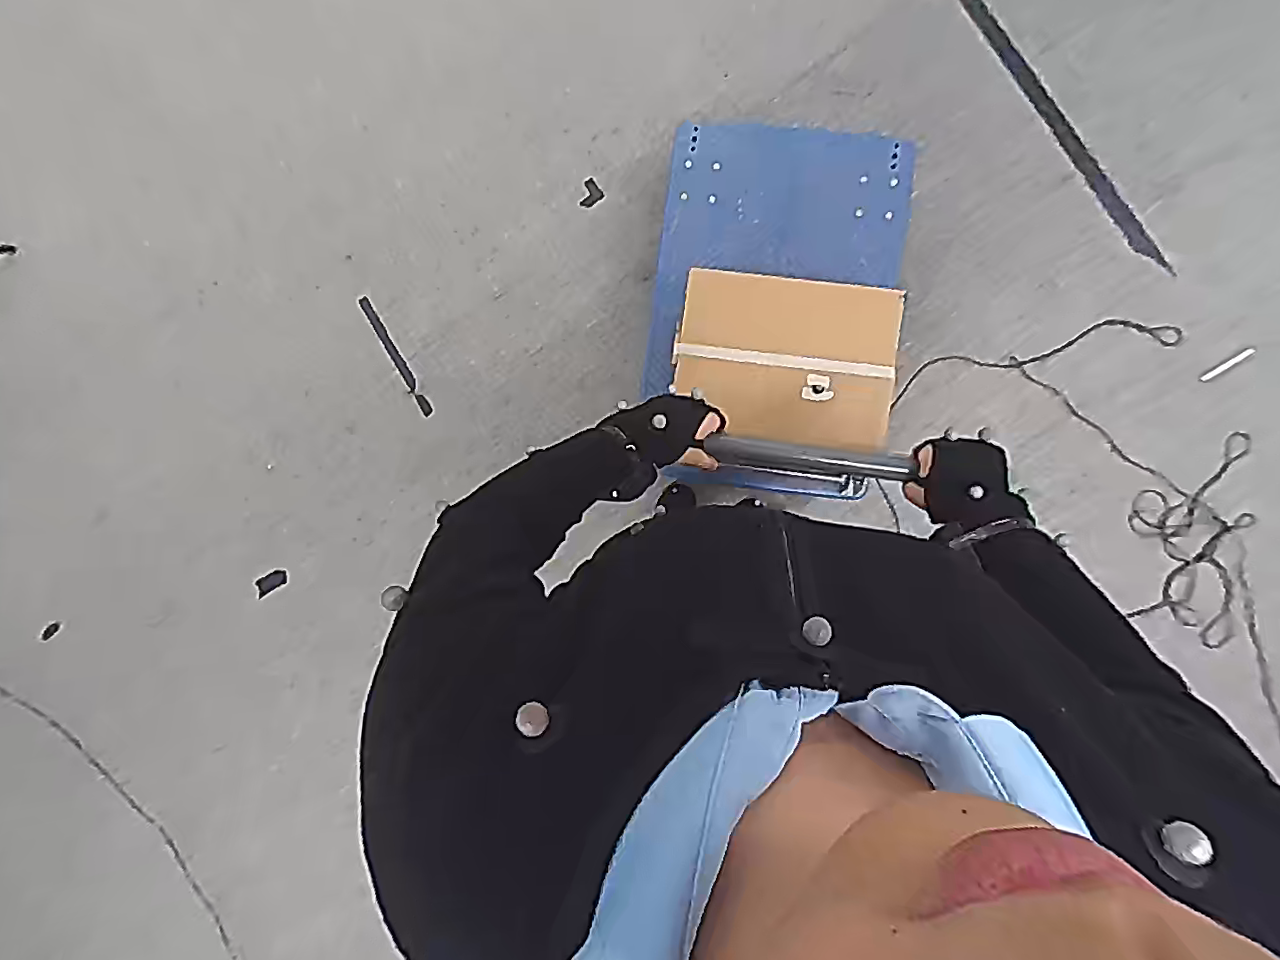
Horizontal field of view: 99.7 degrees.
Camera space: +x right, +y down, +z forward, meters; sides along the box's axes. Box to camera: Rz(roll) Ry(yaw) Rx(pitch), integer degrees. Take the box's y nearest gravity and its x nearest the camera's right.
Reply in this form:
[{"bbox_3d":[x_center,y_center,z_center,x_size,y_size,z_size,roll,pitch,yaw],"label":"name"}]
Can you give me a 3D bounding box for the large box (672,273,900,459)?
[{"bbox_3d":[0.282,-0.223,1.174,0.408,0.320,0.320,8,91,3],"label":"large box"}]
